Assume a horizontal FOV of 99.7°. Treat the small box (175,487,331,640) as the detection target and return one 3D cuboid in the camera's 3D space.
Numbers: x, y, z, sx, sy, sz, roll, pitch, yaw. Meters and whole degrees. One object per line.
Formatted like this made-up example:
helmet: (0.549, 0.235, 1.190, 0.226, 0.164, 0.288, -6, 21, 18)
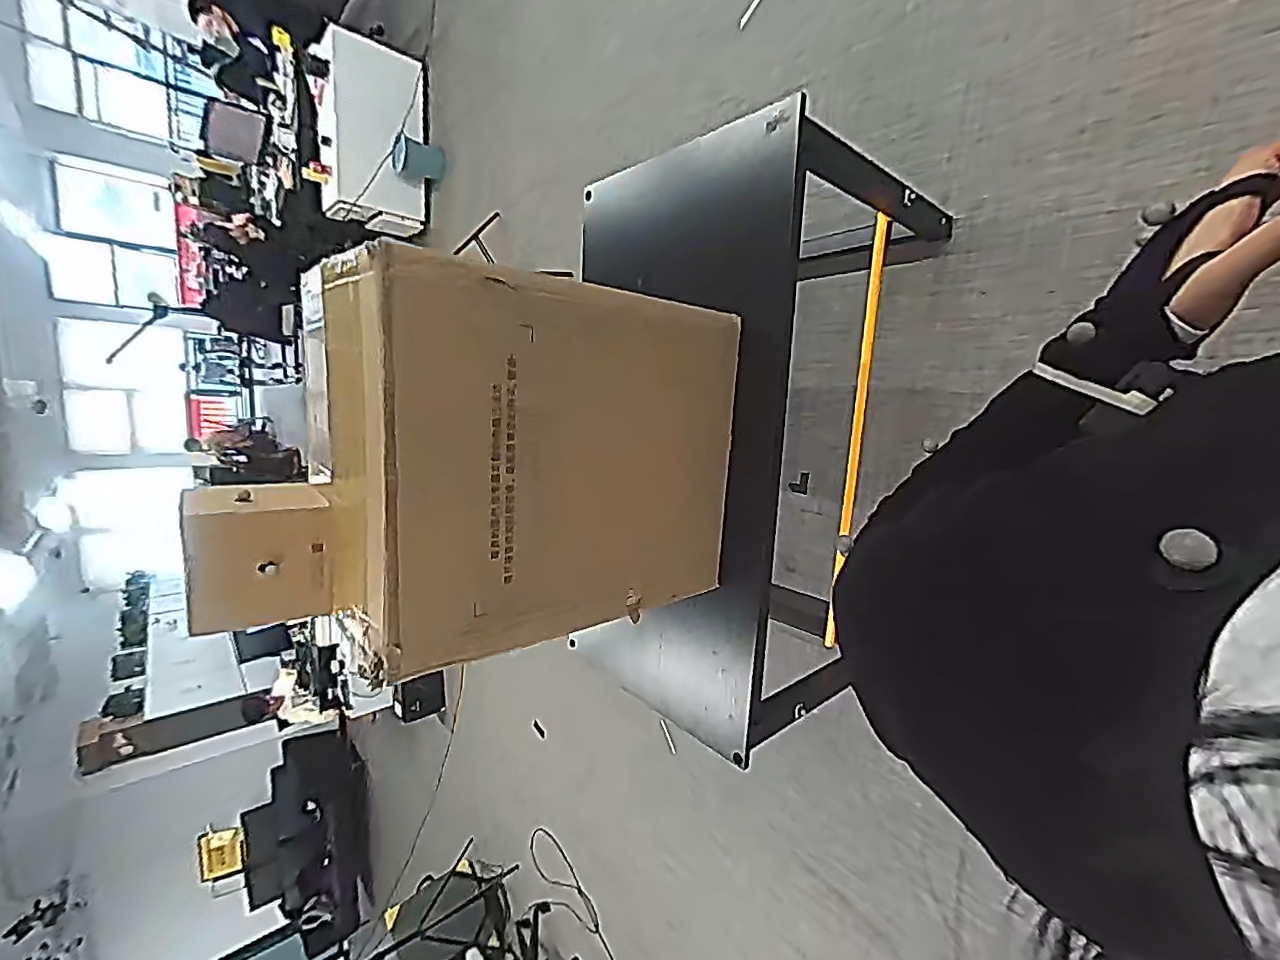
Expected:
small box: (-0.559, 0.105, 0.788, 0.179, 0.176, 0.168, 16, 104, 48)
